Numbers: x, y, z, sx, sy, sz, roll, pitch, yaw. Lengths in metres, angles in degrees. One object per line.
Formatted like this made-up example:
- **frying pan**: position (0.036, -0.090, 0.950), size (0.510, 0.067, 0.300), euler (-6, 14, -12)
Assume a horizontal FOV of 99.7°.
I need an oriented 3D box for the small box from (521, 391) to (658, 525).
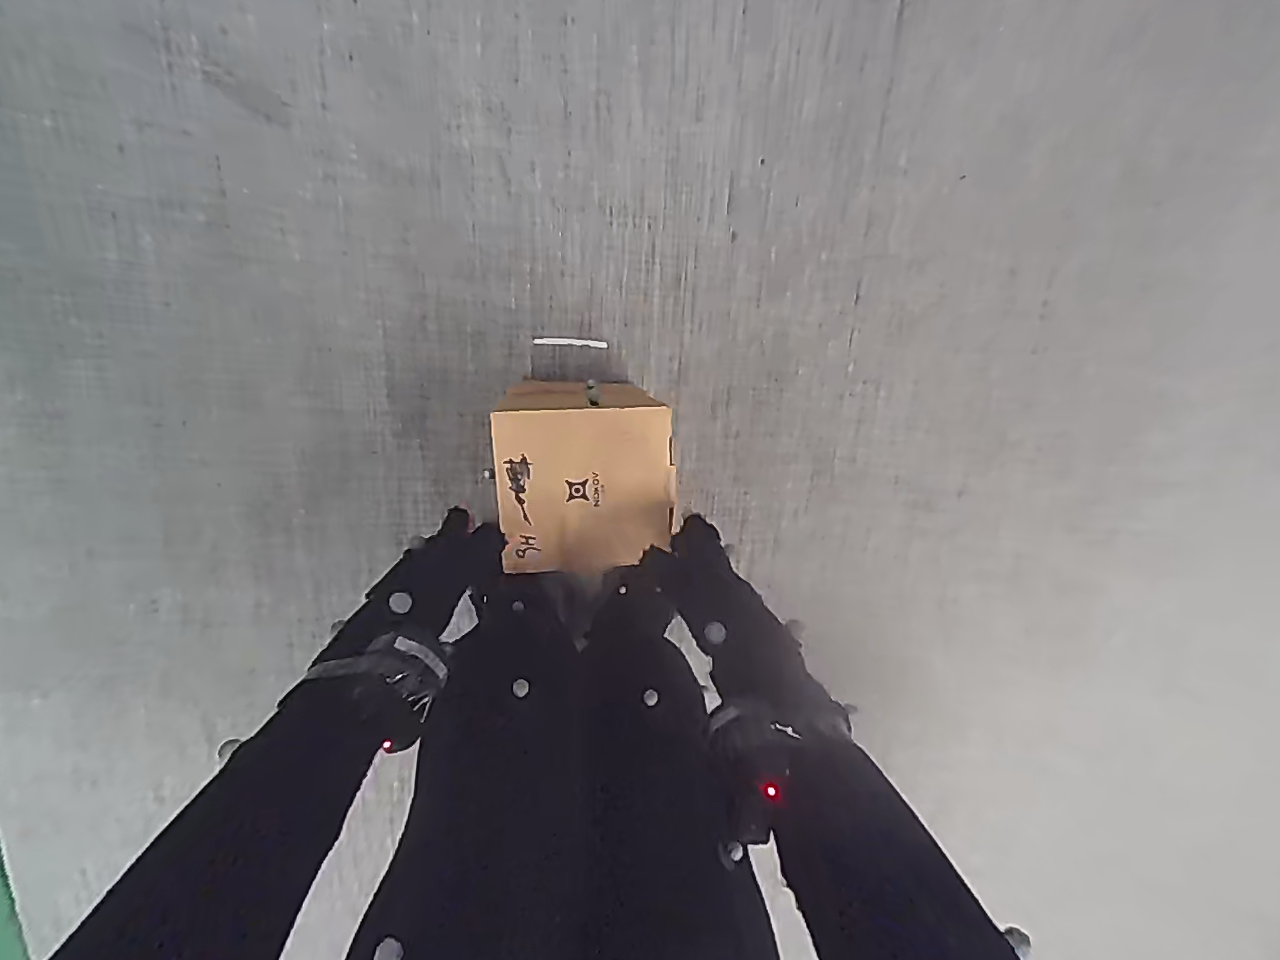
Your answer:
- **small box**: position (-0.077, -0.039, 0.778), size (0.179, 0.176, 0.168), euler (1, 103, -7)
